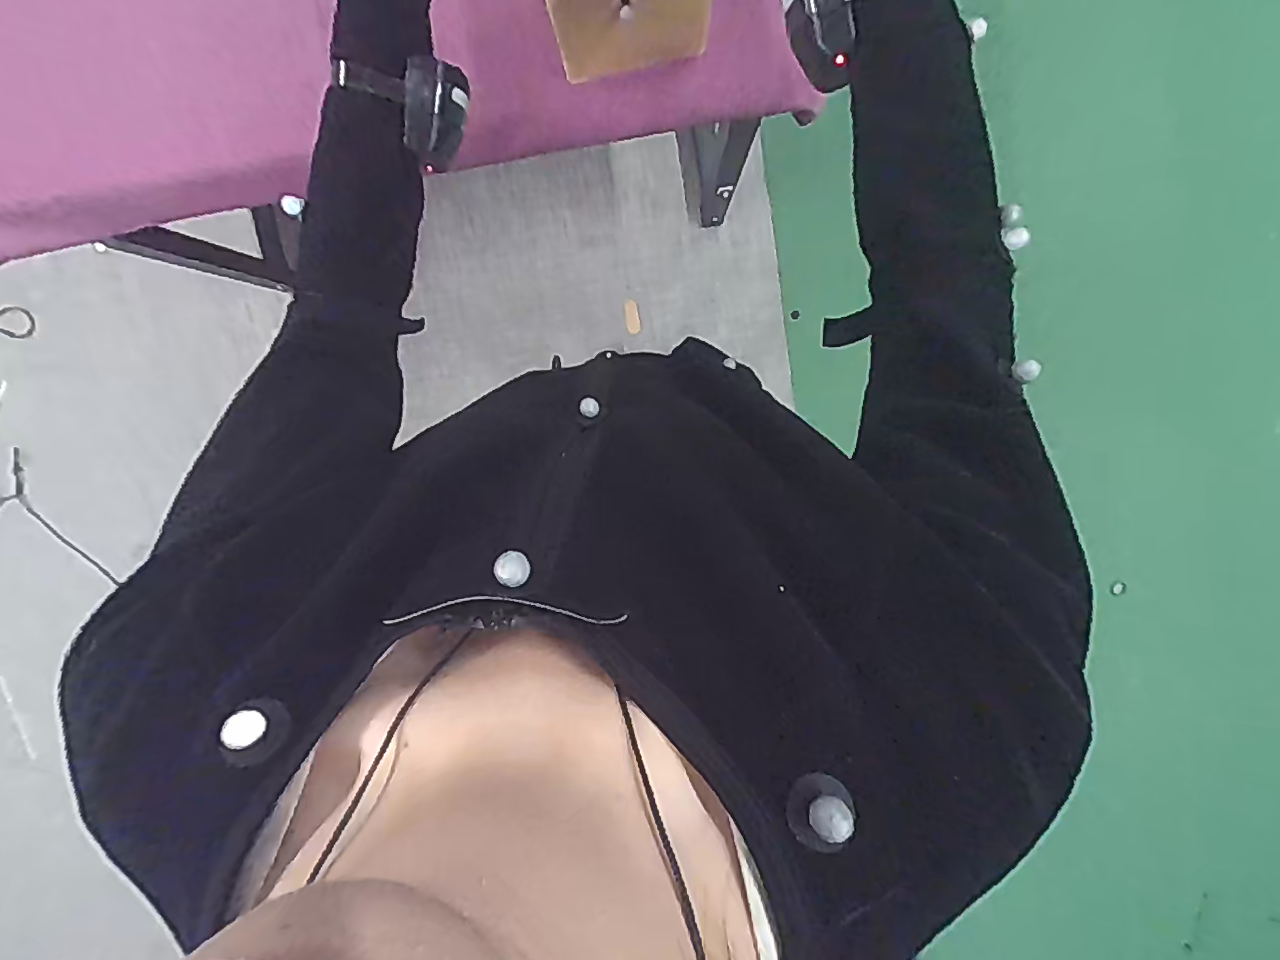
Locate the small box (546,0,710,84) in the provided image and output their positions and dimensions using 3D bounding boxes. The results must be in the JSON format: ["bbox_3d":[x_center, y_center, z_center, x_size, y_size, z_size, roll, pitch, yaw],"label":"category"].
[{"bbox_3d":[-0.018,-0.584,0.599,0.179,0.176,0.168,-10,100,6],"label":"small box"}]
